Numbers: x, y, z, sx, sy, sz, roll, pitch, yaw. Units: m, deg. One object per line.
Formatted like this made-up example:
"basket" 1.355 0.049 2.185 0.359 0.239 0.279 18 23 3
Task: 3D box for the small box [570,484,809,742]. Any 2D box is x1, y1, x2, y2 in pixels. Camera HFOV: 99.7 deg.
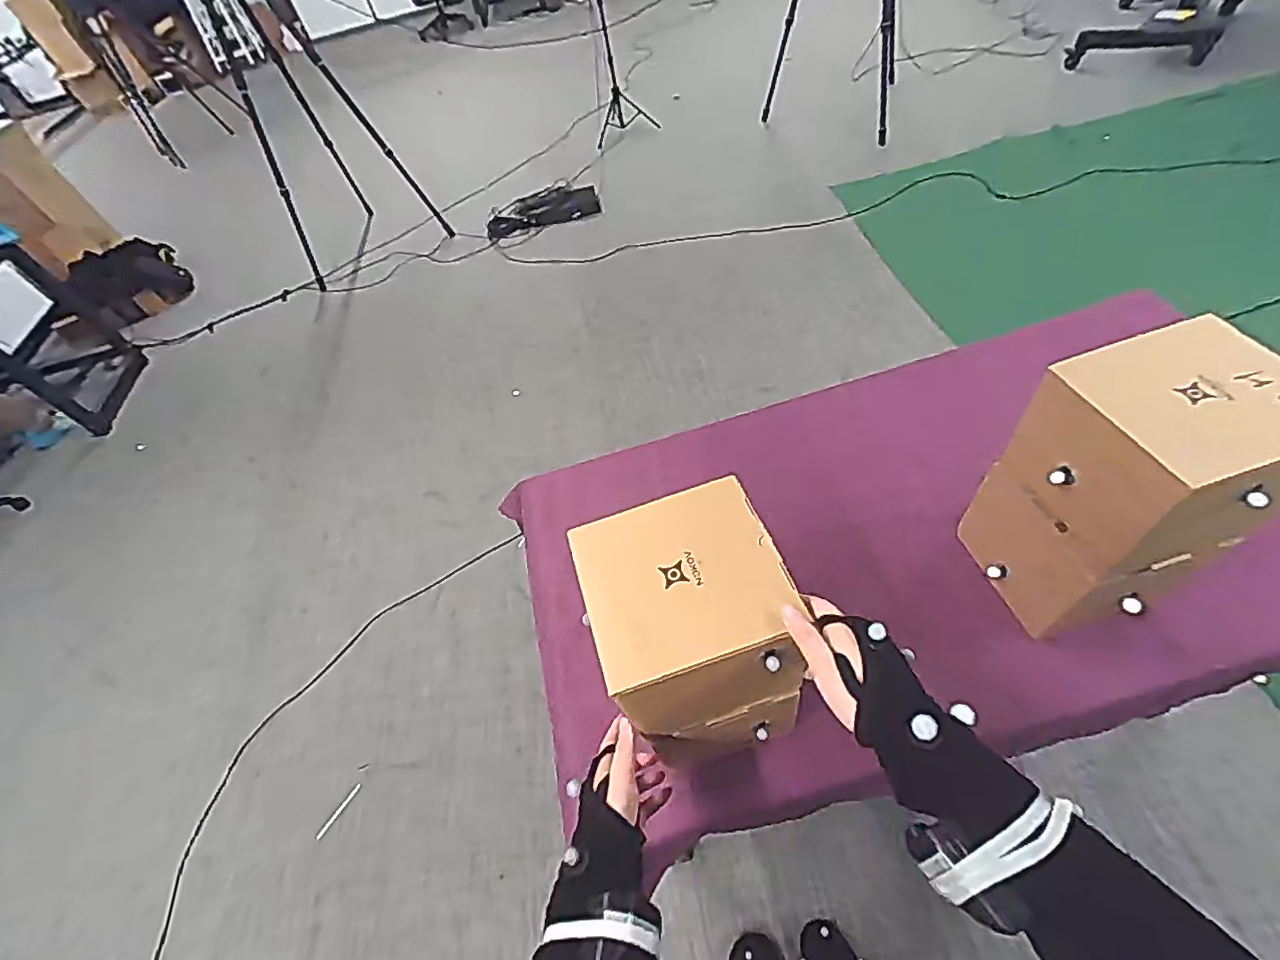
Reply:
"small box" 0.047 0.138 0.539 0.179 0.176 0.168 -18 51 -4

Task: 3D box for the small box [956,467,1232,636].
"small box" 0.543 0.080 0.683 0.168 0.176 0.179 -16 52 -1

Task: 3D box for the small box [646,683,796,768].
"small box" 0.078 0.235 0.666 0.168 0.176 0.179 -17 51 -2

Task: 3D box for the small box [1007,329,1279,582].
"small box" 0.517 -0.018 0.552 0.179 0.176 0.168 -17 51 -1
